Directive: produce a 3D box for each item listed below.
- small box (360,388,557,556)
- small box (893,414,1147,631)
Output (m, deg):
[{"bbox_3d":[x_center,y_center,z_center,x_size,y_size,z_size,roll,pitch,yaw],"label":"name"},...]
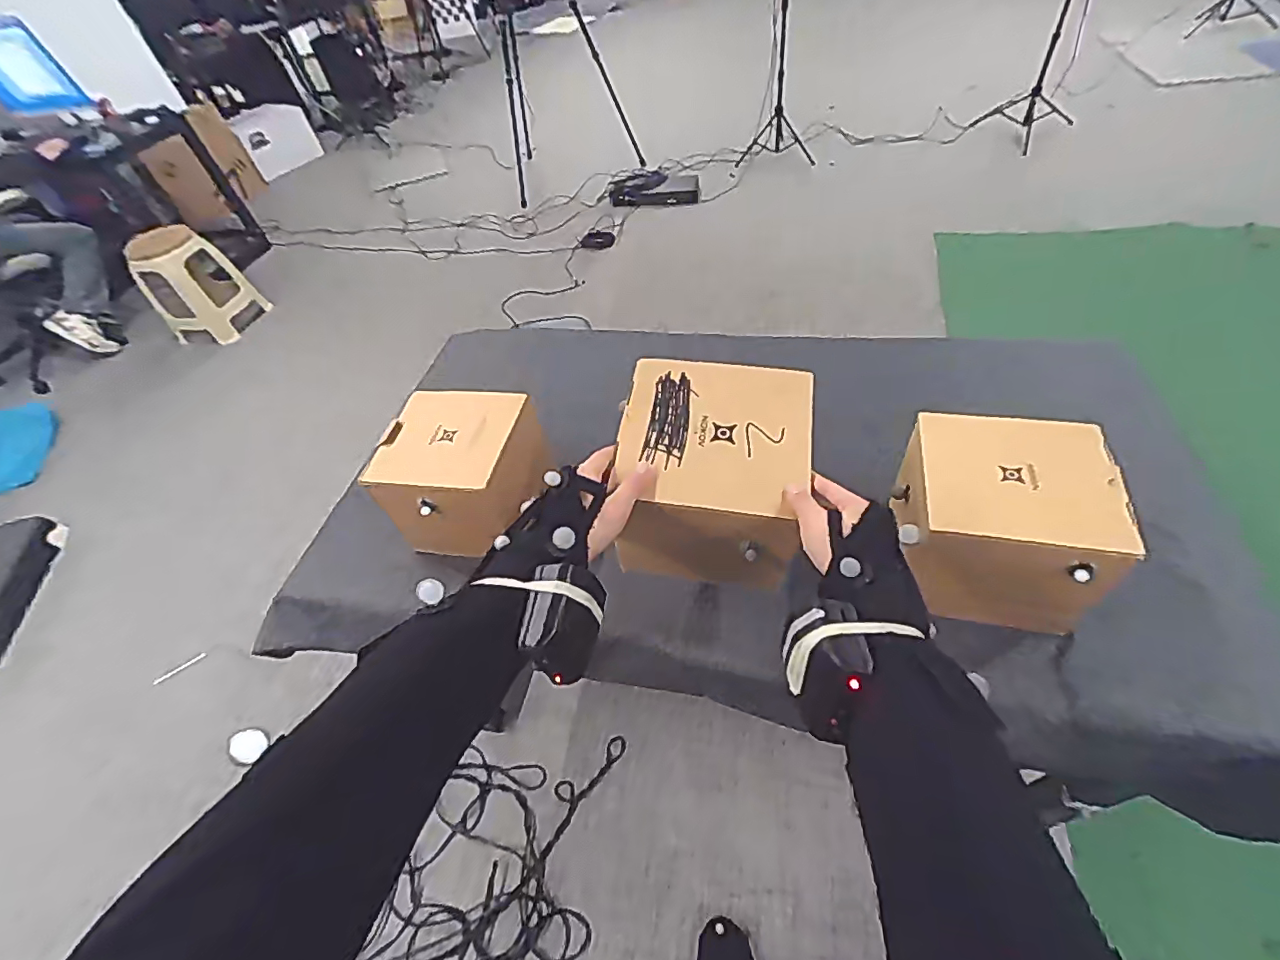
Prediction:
[{"bbox_3d":[-0.235,-0.009,0.752,0.179,0.176,0.168,4,53,12],"label":"small box"},{"bbox_3d":[0.386,0.048,0.595,0.179,0.176,0.168,6,52,15],"label":"small box"}]
